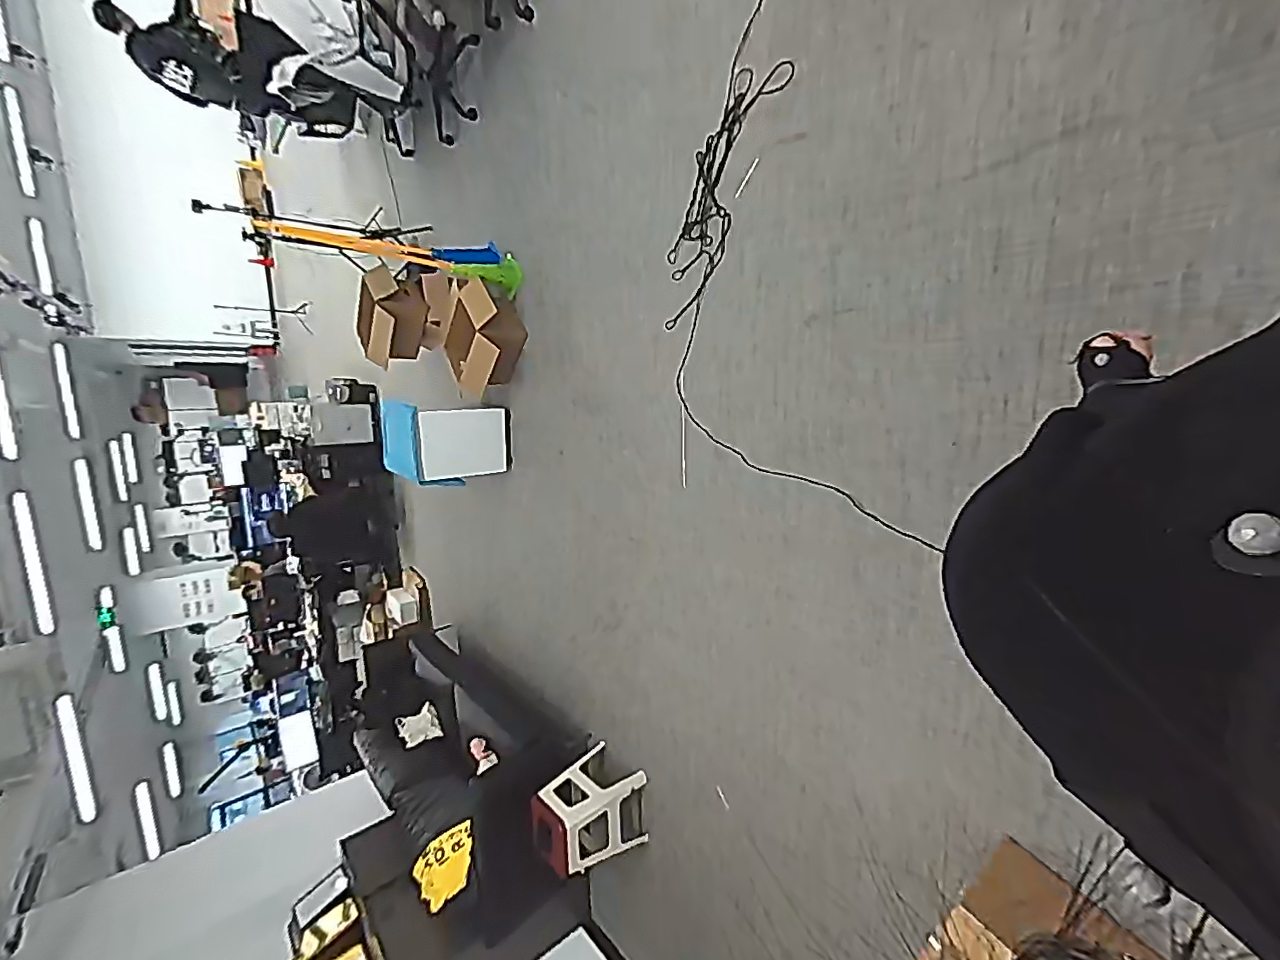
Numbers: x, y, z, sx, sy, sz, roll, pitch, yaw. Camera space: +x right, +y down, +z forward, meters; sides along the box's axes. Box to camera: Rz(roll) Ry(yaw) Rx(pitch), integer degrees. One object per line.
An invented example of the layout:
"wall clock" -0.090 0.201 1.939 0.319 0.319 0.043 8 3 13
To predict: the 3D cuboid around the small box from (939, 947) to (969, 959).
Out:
"small box" 0.706 1.212 1.202 0.168 0.176 0.179 35 124 42
